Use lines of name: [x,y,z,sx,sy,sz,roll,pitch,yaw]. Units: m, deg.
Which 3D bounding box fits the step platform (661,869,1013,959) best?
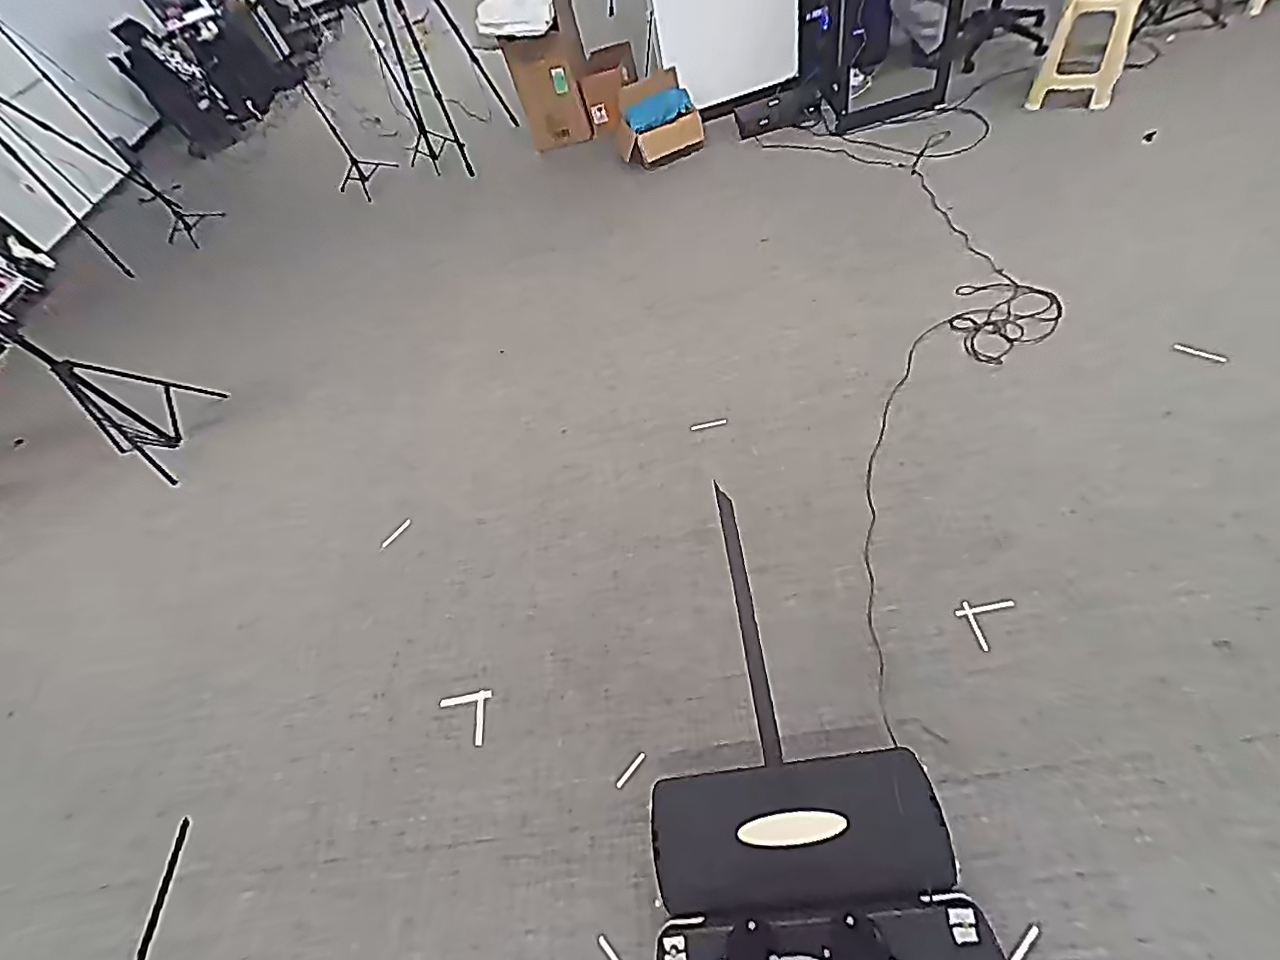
step platform: [0.386,1.002,1.098,0.684,0.204,0.286,-14,53,9]
